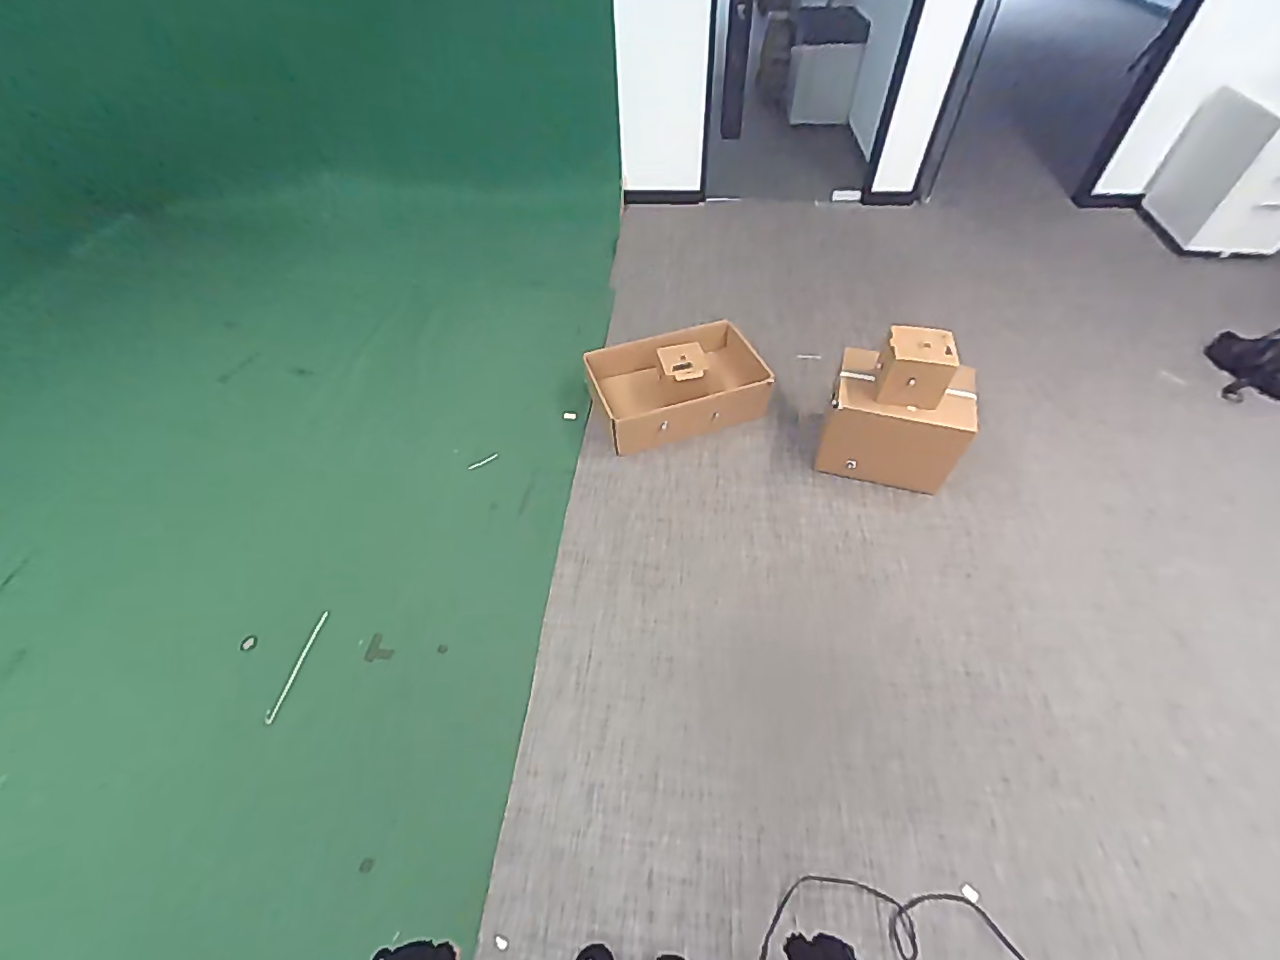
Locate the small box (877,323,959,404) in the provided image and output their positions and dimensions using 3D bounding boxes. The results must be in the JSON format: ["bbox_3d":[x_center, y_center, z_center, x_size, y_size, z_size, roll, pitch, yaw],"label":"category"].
[{"bbox_3d":[0.823,-0.347,1.623,0.179,0.176,0.168,9,53,9],"label":"small box"}]

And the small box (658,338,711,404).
[{"bbox_3d":[0.166,-0.401,2.028,0.168,0.176,0.179,-10,50,-5],"label":"small box"}]
